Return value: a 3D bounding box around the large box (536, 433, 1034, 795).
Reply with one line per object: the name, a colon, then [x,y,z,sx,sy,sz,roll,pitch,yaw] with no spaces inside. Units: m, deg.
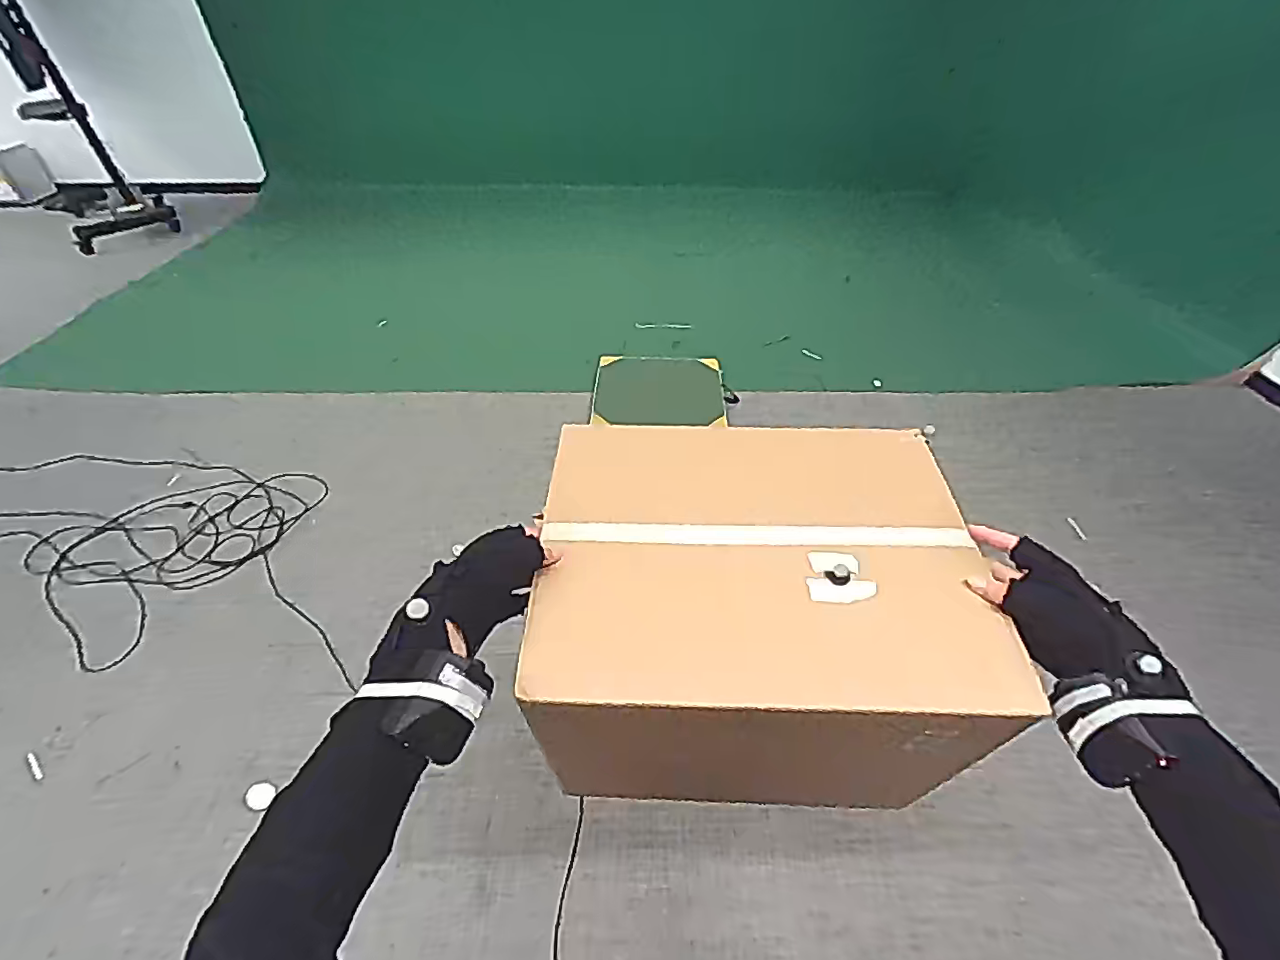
large box: [0.114,0.160,0.633,0.408,0.320,0.320,1,48,1]
